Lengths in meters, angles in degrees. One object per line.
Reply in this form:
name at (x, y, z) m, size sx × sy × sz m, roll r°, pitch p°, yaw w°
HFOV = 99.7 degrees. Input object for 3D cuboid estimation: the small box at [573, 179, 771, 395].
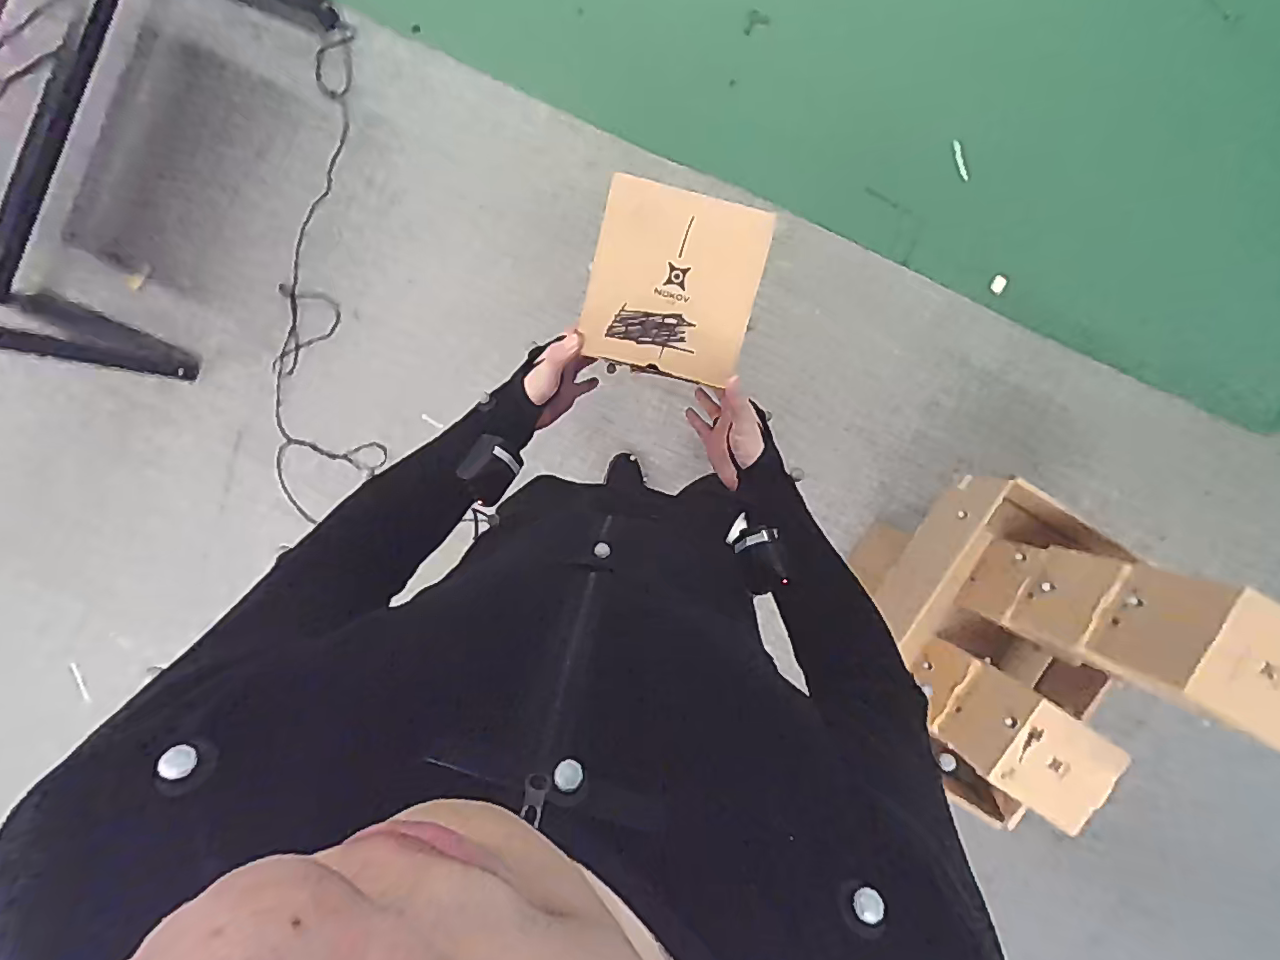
small box at (0.031, -0.206, 0.617) m, size 0.168 × 0.176 × 0.179 m, roll 13°, pitch 102°, yaw -3°

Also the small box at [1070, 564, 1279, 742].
small box at (0.827, 0.247, 0.821) m, size 0.179 × 0.176 × 0.168 m, roll 30°, pitch 93°, yaw -2°

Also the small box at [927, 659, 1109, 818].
small box at (0.684, 0.464, 1.001) m, size 0.179 × 0.176 × 0.168 m, roll 34°, pitch 93°, yaw -1°

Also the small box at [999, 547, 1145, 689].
small box at (0.816, 0.237, 0.984) m, size 0.179 × 0.176 × 0.168 m, roll 29°, pitch 93°, yaw -1°

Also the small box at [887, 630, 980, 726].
small box at (0.677, 0.450, 1.165) m, size 0.179 × 0.176 × 0.168 m, roll 32°, pitch 93°, yaw -1°
